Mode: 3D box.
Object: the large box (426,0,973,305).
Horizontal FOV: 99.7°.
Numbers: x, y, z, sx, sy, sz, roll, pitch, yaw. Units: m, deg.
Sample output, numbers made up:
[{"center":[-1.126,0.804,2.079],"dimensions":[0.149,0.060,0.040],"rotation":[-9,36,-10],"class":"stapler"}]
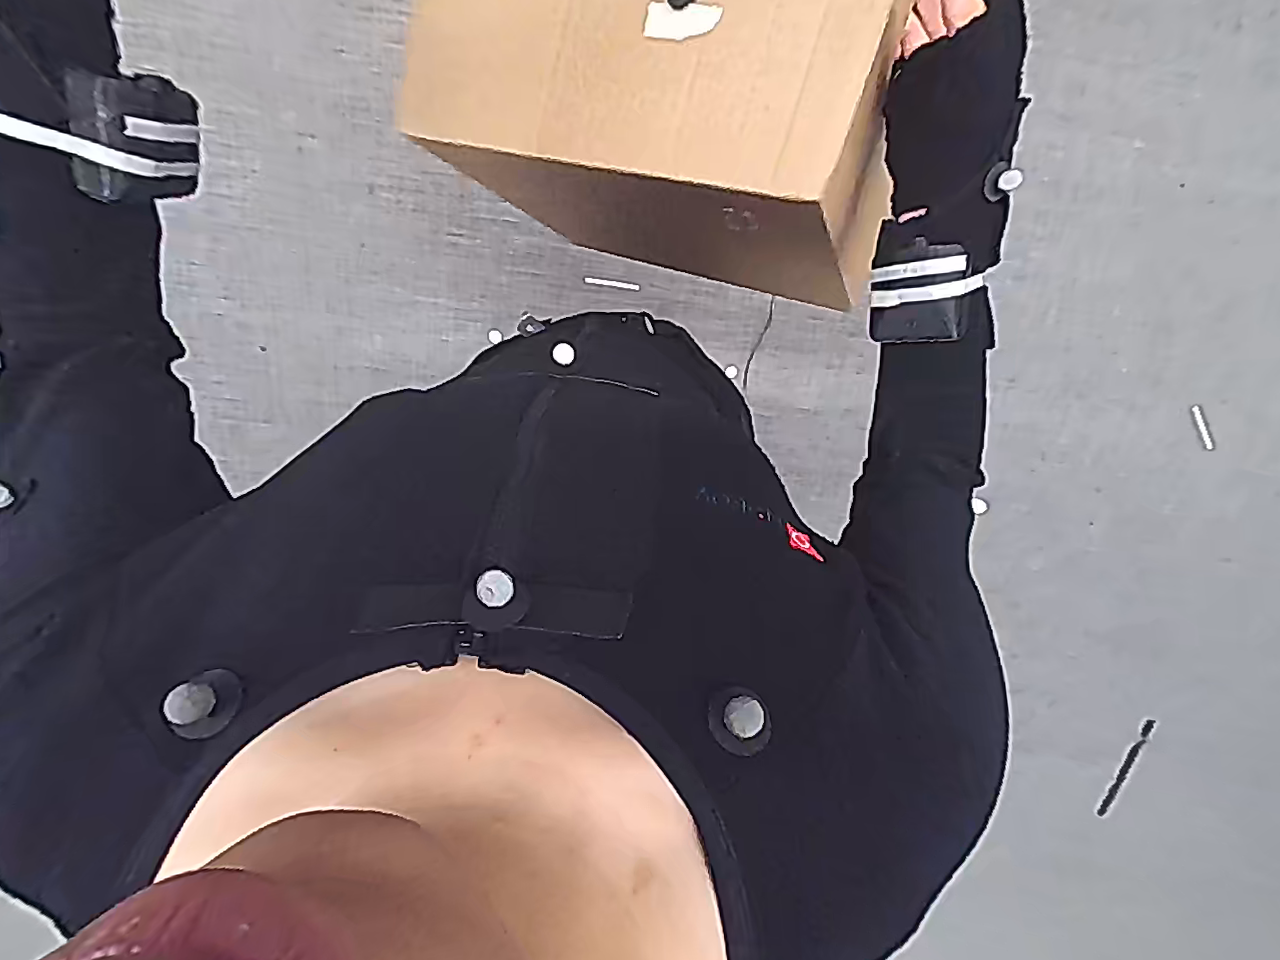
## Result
[{"center":[0.071,-0.410,0.550],"dimensions":[0.408,0.320,0.320],"rotation":[25,102,24],"class":"large box"}]
